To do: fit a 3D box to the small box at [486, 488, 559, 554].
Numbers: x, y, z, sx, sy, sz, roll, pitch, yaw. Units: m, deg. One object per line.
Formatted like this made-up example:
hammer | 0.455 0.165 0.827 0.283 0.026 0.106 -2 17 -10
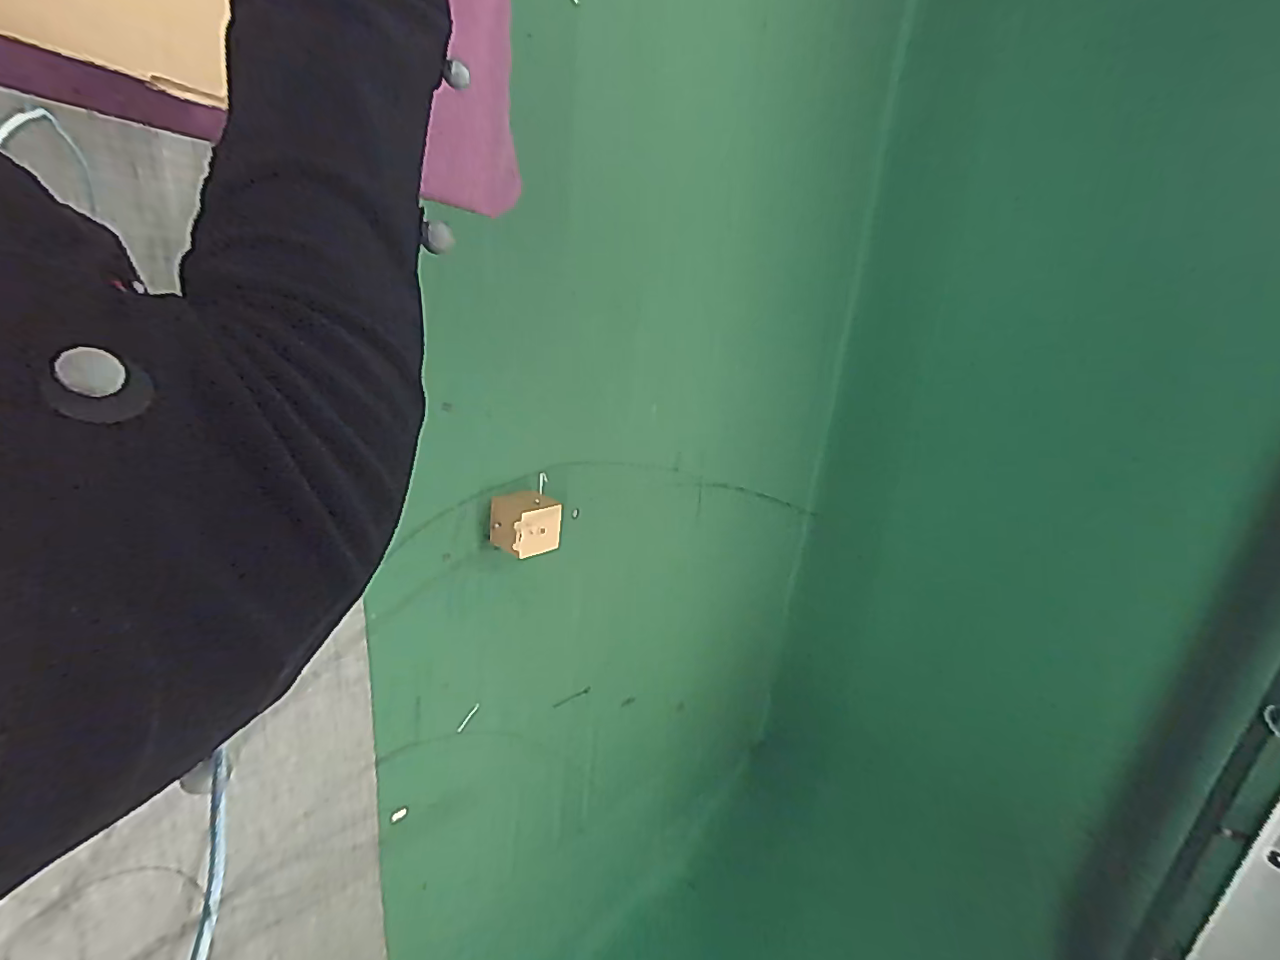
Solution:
small box | -0.407 0.135 1.874 0.179 0.176 0.168 -10 114 -48
